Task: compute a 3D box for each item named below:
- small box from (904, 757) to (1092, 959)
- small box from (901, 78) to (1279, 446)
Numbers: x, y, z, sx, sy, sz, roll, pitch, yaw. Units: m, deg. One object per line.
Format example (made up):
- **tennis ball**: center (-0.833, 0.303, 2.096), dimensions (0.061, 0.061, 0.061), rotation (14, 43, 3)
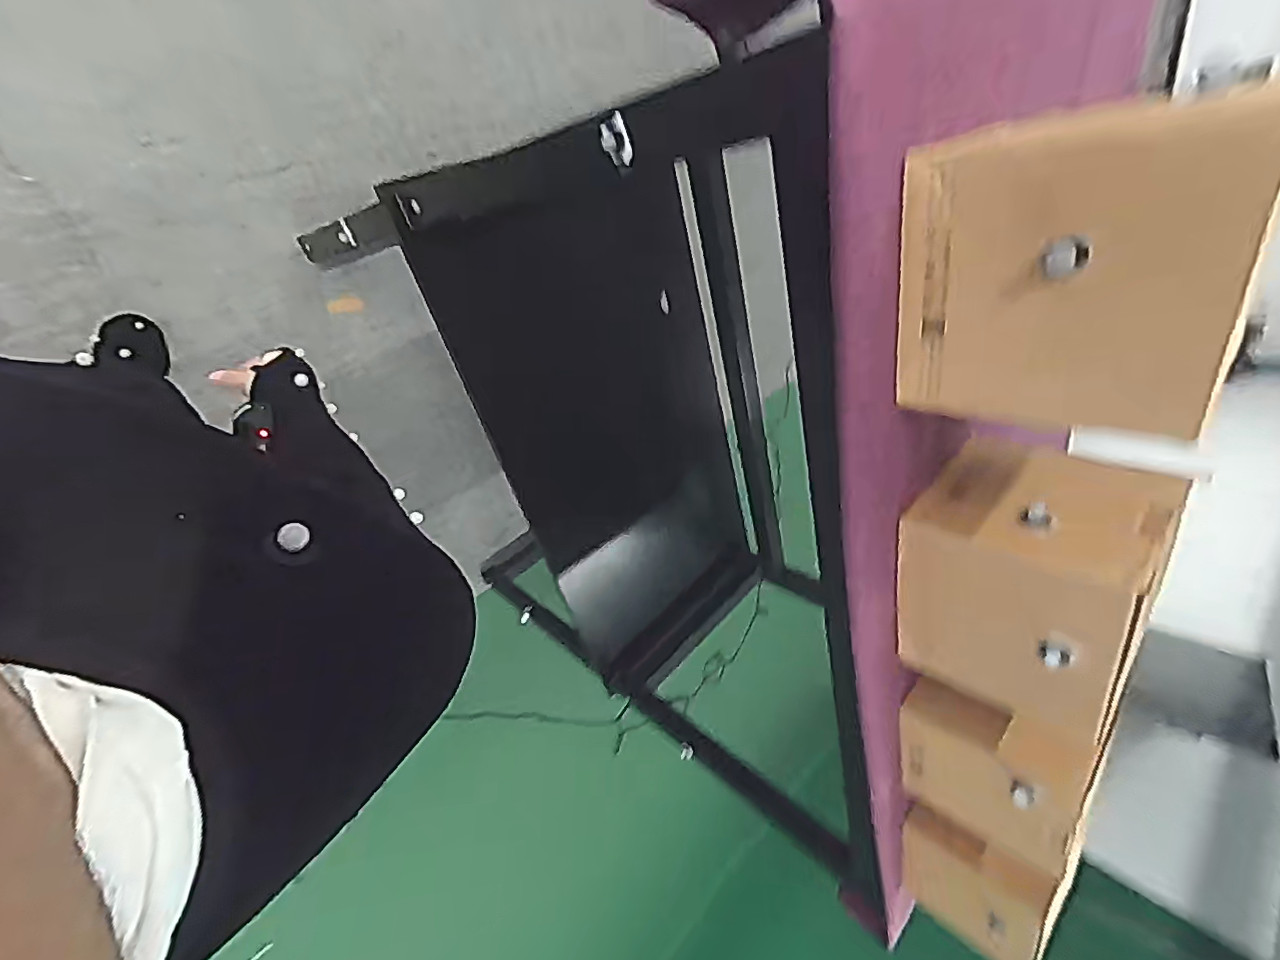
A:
- **small box**: center (0.488, 0.525, 0.752), dimensions (0.168, 0.176, 0.179), rotation (-31, 122, -30)
- **small box**: center (0.290, -0.141, 0.355), dimensions (0.179, 0.176, 0.168), rotation (-33, 124, -32)
